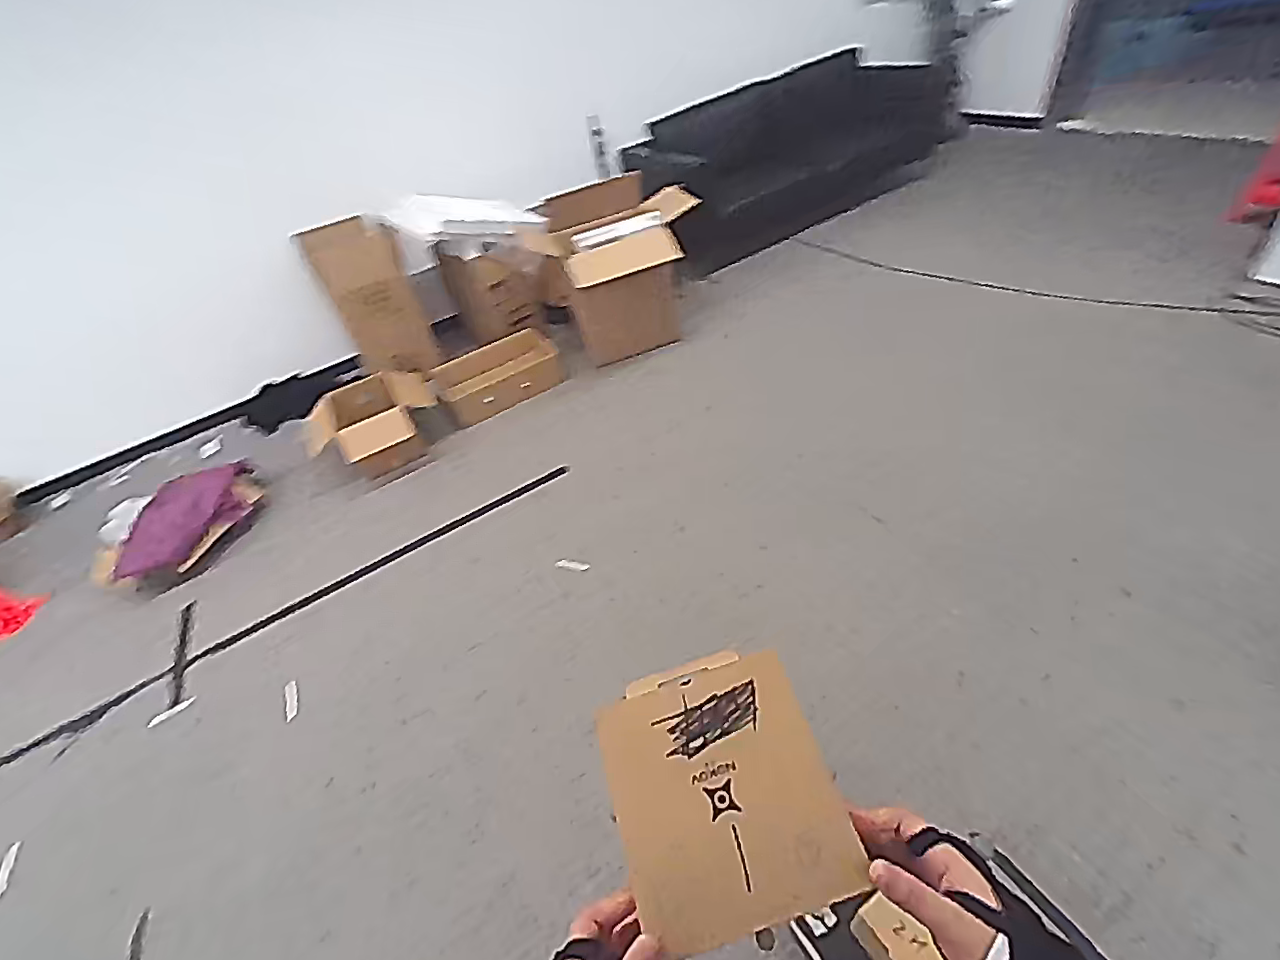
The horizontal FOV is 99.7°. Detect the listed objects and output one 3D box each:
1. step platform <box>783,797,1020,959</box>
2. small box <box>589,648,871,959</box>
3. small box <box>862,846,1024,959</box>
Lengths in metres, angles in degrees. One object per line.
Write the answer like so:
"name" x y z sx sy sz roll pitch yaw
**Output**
"step platform" 0.522 0.840 0.752 0.286 0.204 0.684 -29 45 -17
"small box" 0.069 0.280 0.471 0.168 0.176 0.179 -20 51 -2
"small box" 0.483 0.760 0.901 0.179 0.176 0.168 -29 44 -16
